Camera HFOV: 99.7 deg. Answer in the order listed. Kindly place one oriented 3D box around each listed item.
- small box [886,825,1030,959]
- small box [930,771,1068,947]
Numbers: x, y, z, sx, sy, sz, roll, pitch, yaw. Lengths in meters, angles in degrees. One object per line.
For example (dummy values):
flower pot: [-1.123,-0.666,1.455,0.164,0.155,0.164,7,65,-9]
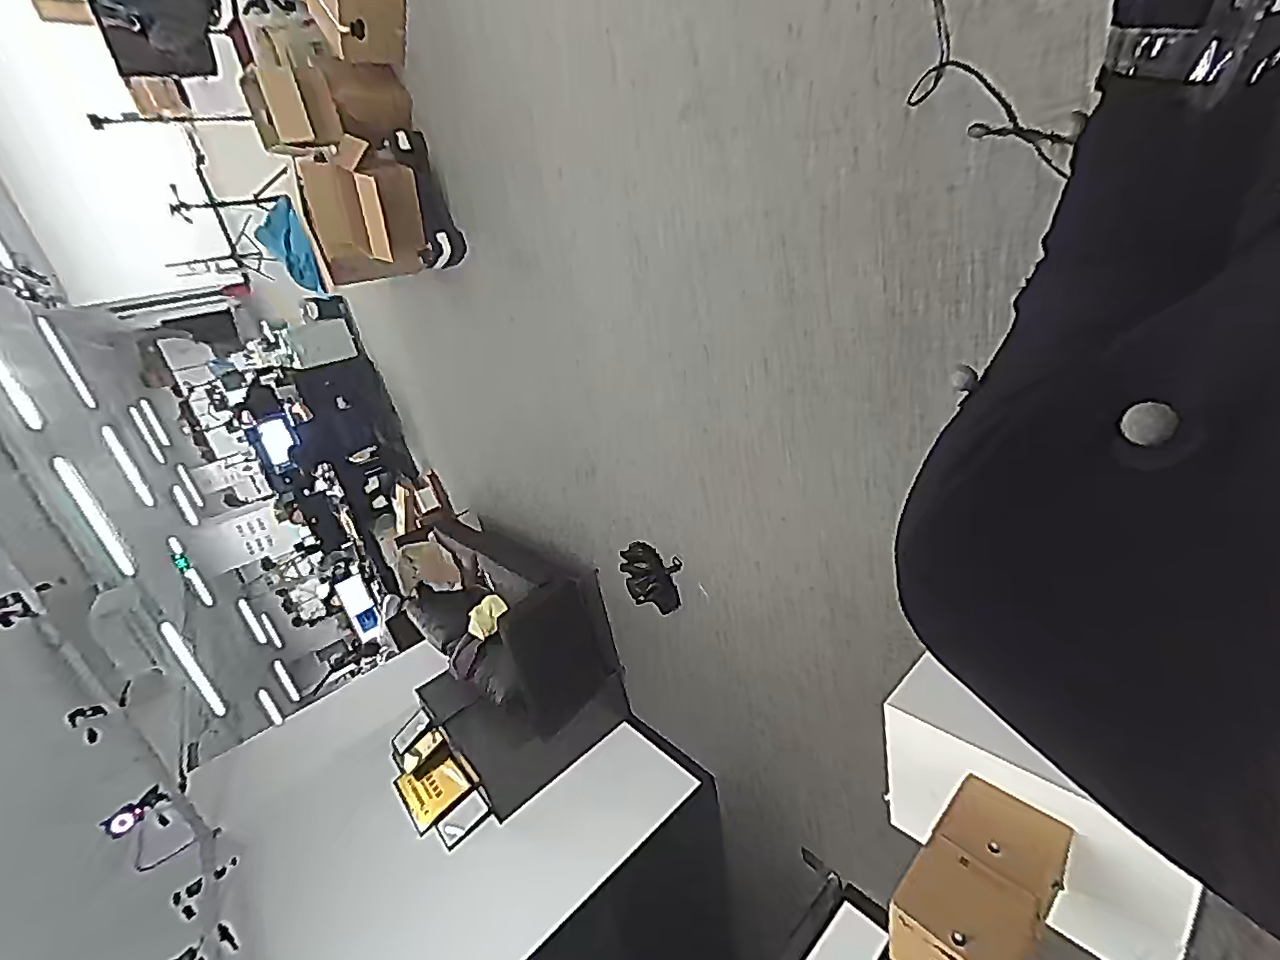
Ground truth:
small box: [0.550,0.760,0.937,0.168,0.176,0.179,15,123,50]
small box: [0.673,0.699,1.020,0.179,0.176,0.168,17,125,49]
